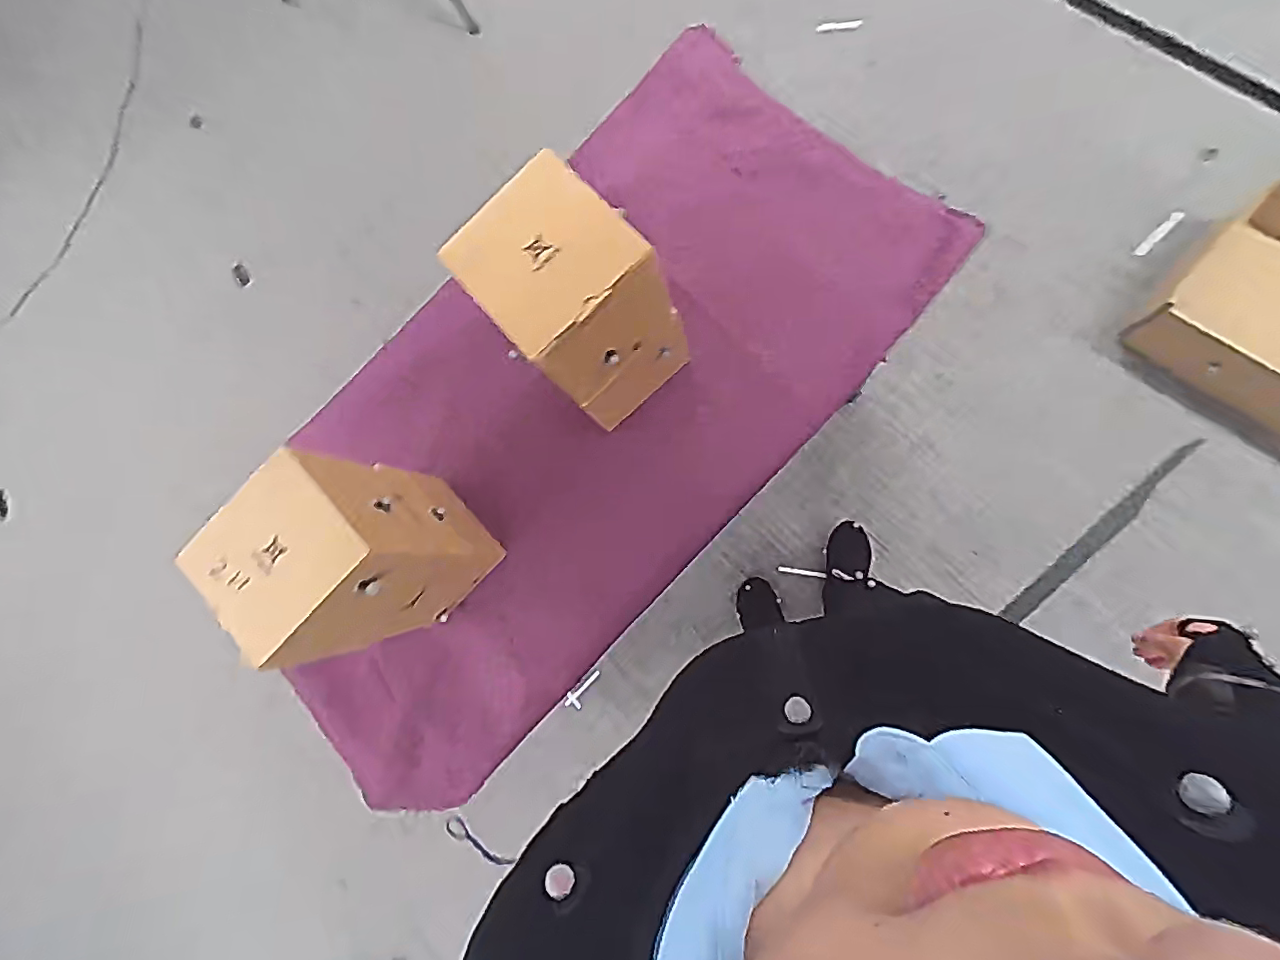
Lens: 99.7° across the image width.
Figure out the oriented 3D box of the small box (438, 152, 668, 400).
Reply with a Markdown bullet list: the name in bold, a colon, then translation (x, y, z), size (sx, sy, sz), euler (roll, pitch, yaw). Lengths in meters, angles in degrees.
- **small box**: translation (-0.089, -0.221, 0.633), size (0.168, 0.176, 0.179), euler (-43, 76, 2)

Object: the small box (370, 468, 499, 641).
- **small box**: translation (-0.343, 0.108, 0.801), size (0.168, 0.176, 0.179), euler (-46, 76, 1)

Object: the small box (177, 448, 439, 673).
- **small box**: translation (-0.369, 0.091, 0.639), size (0.168, 0.176, 0.179), euler (44, 92, 14)
